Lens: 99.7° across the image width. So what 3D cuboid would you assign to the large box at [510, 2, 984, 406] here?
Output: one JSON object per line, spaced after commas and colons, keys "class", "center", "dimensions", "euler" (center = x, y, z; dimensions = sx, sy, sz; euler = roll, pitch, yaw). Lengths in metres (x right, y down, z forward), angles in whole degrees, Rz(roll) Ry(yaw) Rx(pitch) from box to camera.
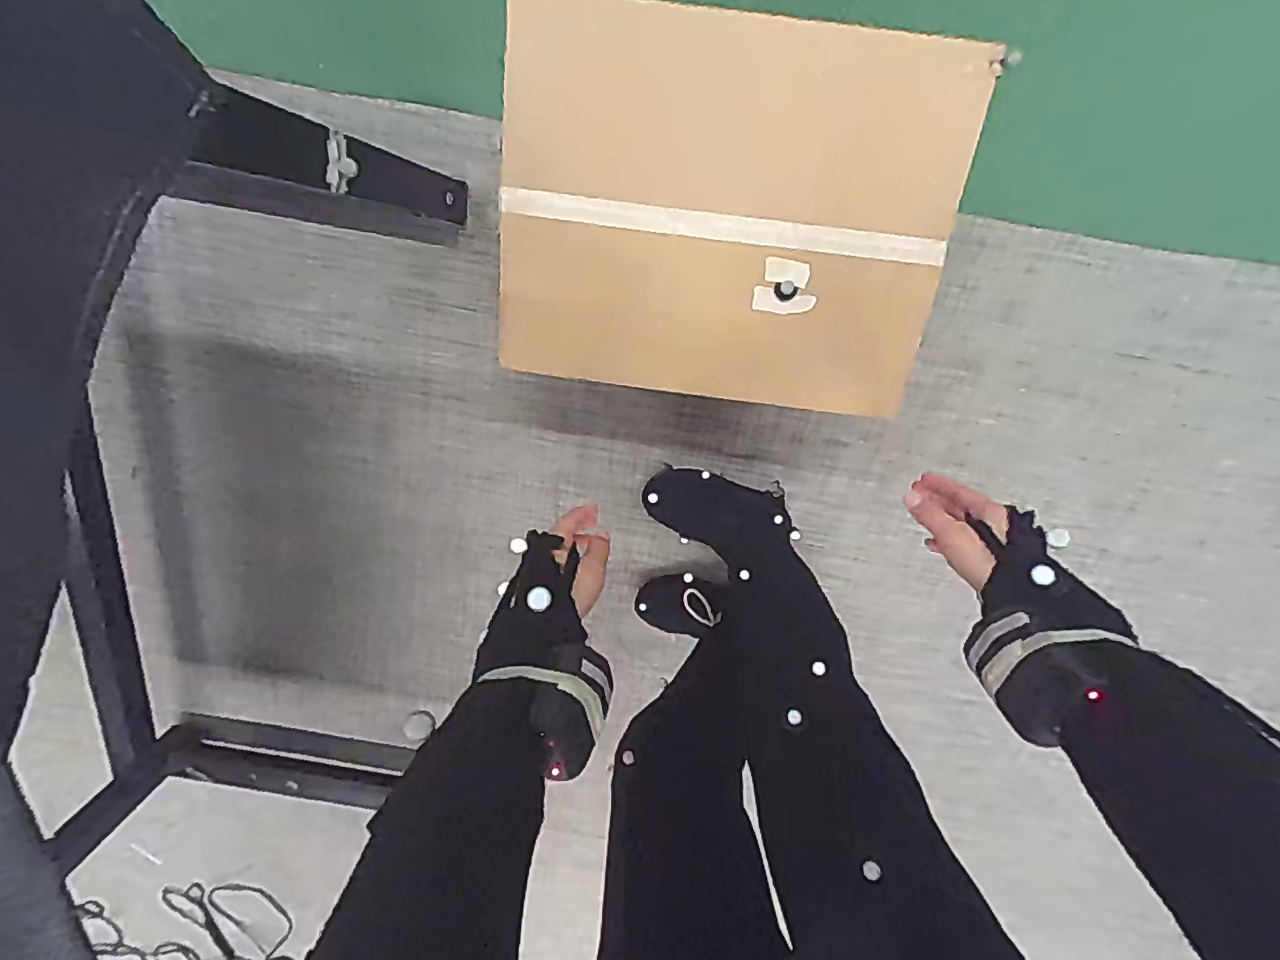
{"class": "large box", "center": [0.082, -0.288, 0.642], "dimensions": [0.408, 0.320, 0.320], "euler": [7, 111, 0]}
